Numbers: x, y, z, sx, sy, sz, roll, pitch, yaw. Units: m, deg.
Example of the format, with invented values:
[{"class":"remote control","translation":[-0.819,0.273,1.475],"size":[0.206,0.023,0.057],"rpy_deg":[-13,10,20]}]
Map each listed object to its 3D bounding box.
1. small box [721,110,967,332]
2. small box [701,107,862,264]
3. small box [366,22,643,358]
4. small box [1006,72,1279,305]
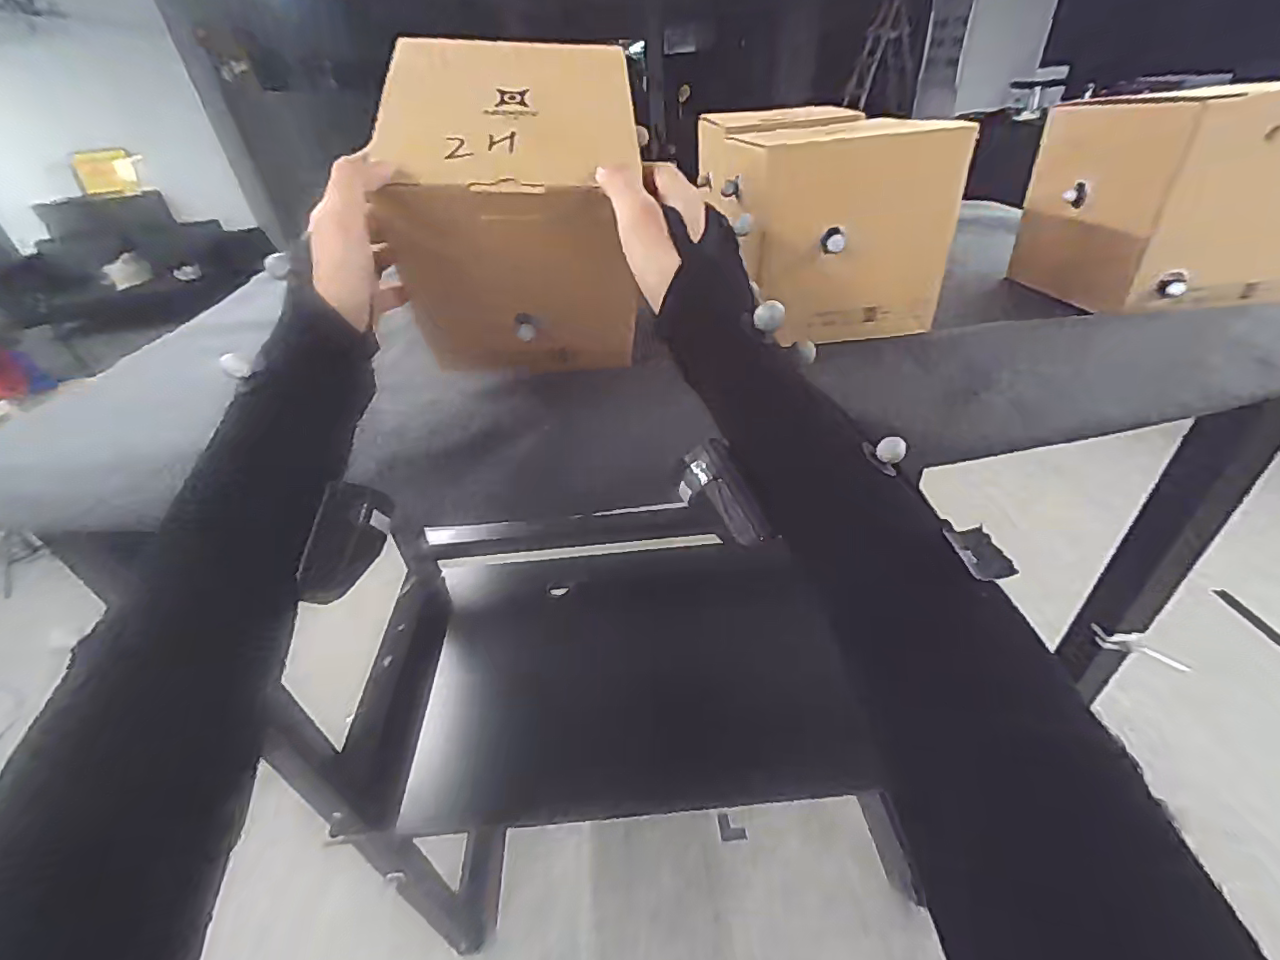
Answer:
[{"class":"small box","translation":[0.176,-0.249,0.528],"size":[0.168,0.176,0.179],"rpy_deg":[-6,34,0]},{"class":"small box","translation":[0.175,-0.398,0.735],"size":[0.168,0.176,0.179],"rpy_deg":[-6,35,-1]},{"class":"small box","translation":[-0.091,-0.219,0.431],"size":[0.168,0.176,0.179],"rpy_deg":[-2,62,-6]},{"class":"small box","translation":[0.491,-0.268,0.507],"size":[0.168,0.176,0.179],"rpy_deg":[-4,32,2]}]
